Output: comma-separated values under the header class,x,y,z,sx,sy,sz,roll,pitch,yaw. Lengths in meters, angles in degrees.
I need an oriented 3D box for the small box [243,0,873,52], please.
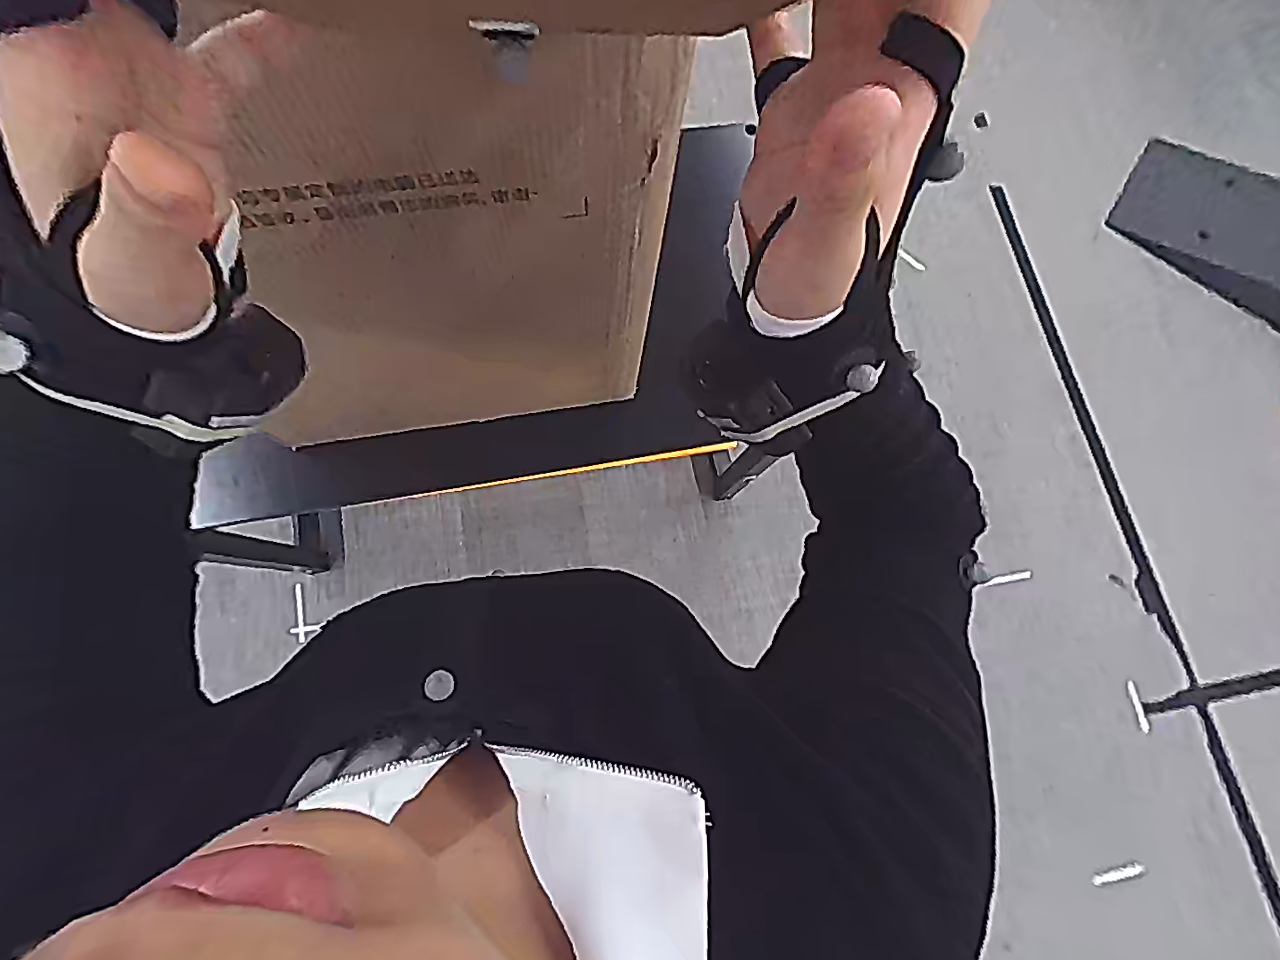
class,x,y,z,sx,sy,sz,roll,pitch,yaw
small box,-0.035,-0.215,0.124,0.168,0.179,0.176,-3,37,-3
